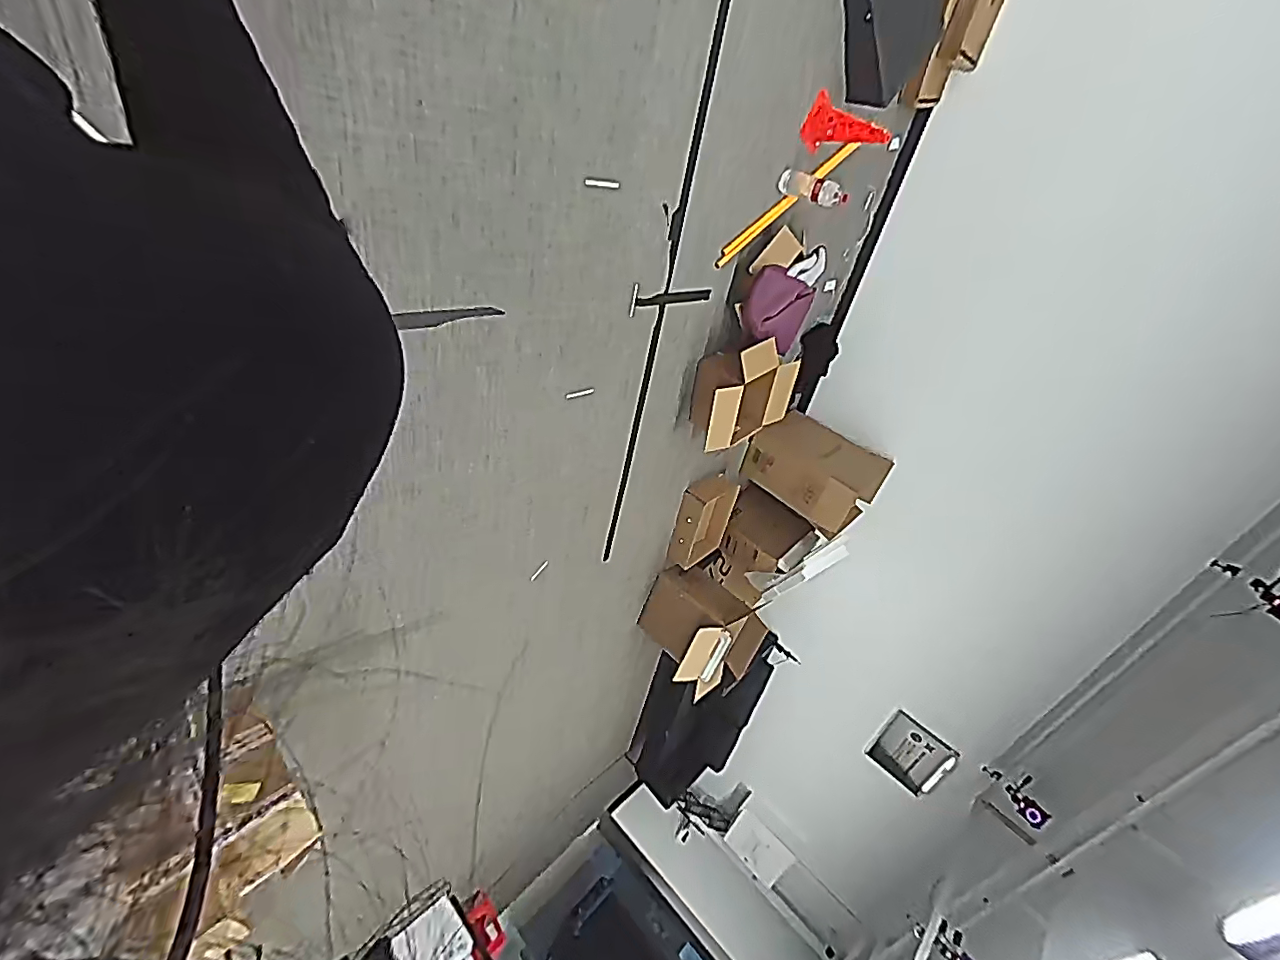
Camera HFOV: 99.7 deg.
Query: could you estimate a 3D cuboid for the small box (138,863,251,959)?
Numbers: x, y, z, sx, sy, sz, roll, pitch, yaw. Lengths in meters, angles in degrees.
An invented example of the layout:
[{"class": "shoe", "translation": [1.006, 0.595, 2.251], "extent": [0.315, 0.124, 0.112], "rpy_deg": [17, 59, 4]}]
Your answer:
[{"class": "small box", "translation": [-1.172, 1.168, 1.419], "extent": [0.179, 0.176, 0.168], "rpy_deg": [-29, 139, -36]}]
